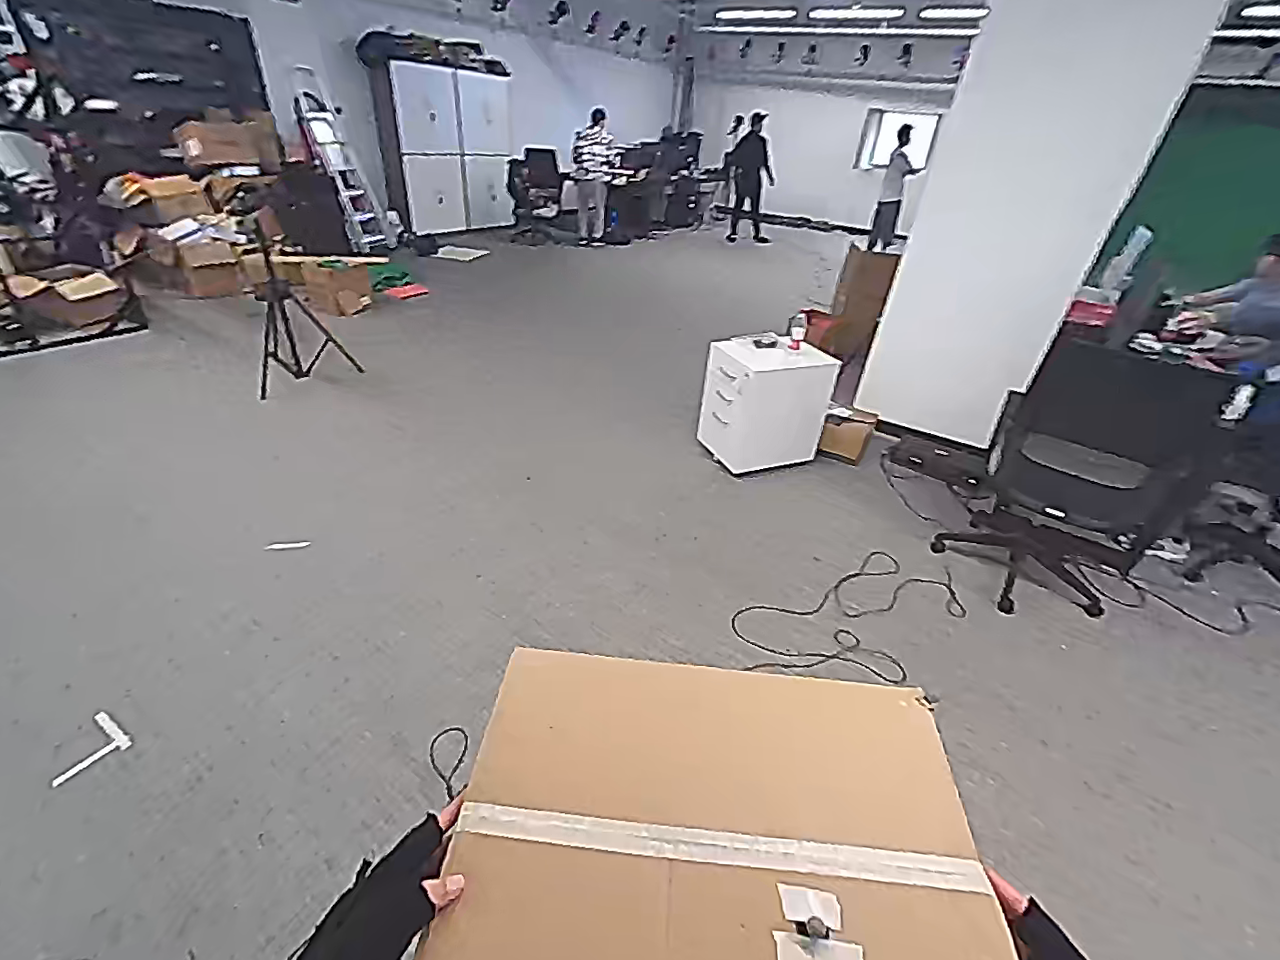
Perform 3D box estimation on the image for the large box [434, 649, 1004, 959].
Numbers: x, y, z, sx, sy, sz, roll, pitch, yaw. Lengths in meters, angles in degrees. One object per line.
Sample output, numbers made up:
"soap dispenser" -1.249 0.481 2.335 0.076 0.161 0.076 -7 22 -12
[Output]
"large box" 0.058 0.400 0.526 0.408 0.320 0.320 5 40 3
